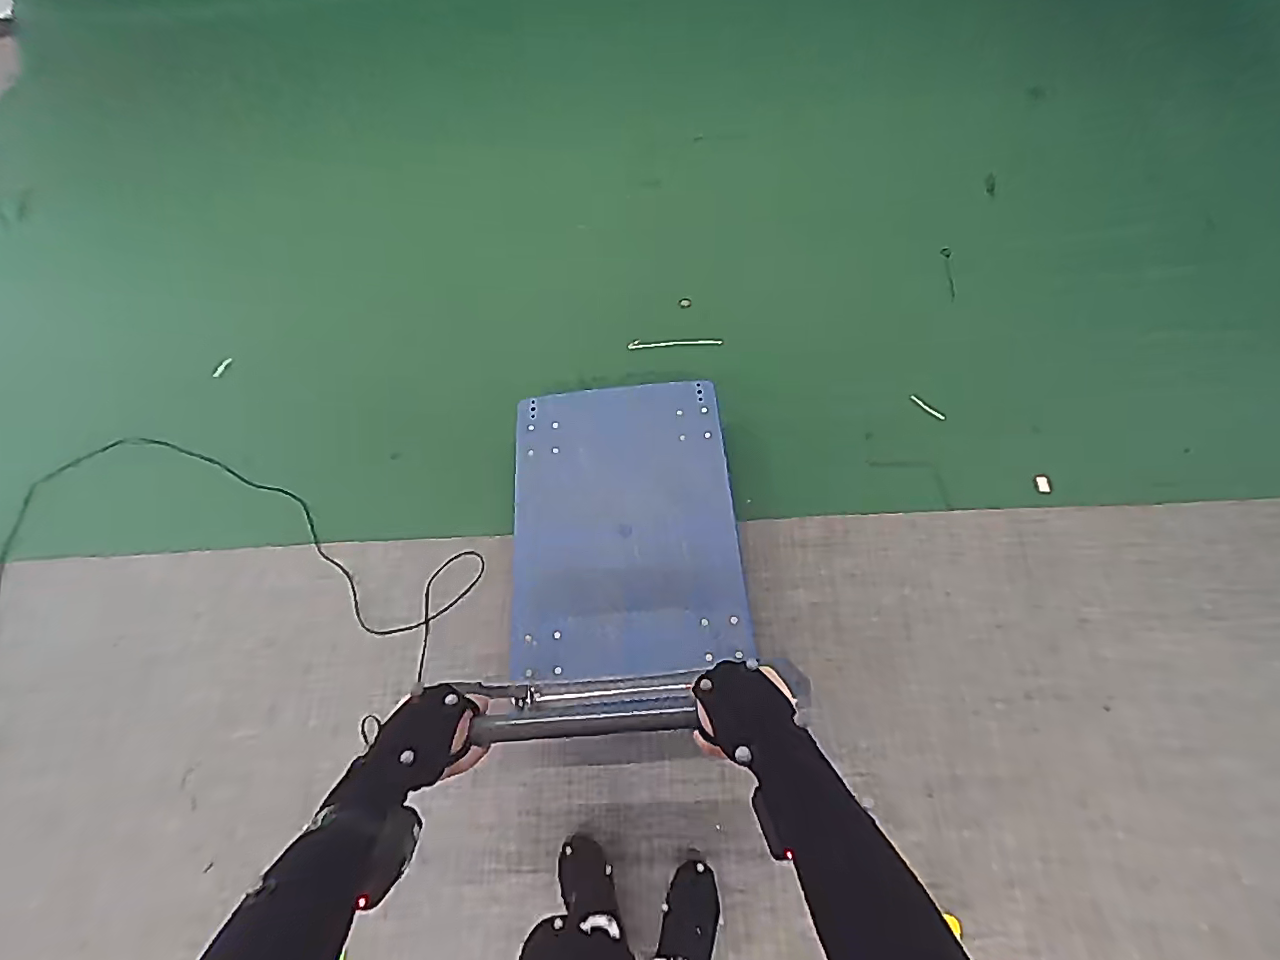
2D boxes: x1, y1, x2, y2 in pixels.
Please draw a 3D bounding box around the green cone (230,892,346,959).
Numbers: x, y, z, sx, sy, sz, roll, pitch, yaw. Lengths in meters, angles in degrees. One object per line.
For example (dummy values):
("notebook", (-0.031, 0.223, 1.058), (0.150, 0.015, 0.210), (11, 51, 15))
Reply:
("green cone", (-0.782, 0.984, 1.061), (0.202, 0.368, 0.200), (-8, 65, 3))
